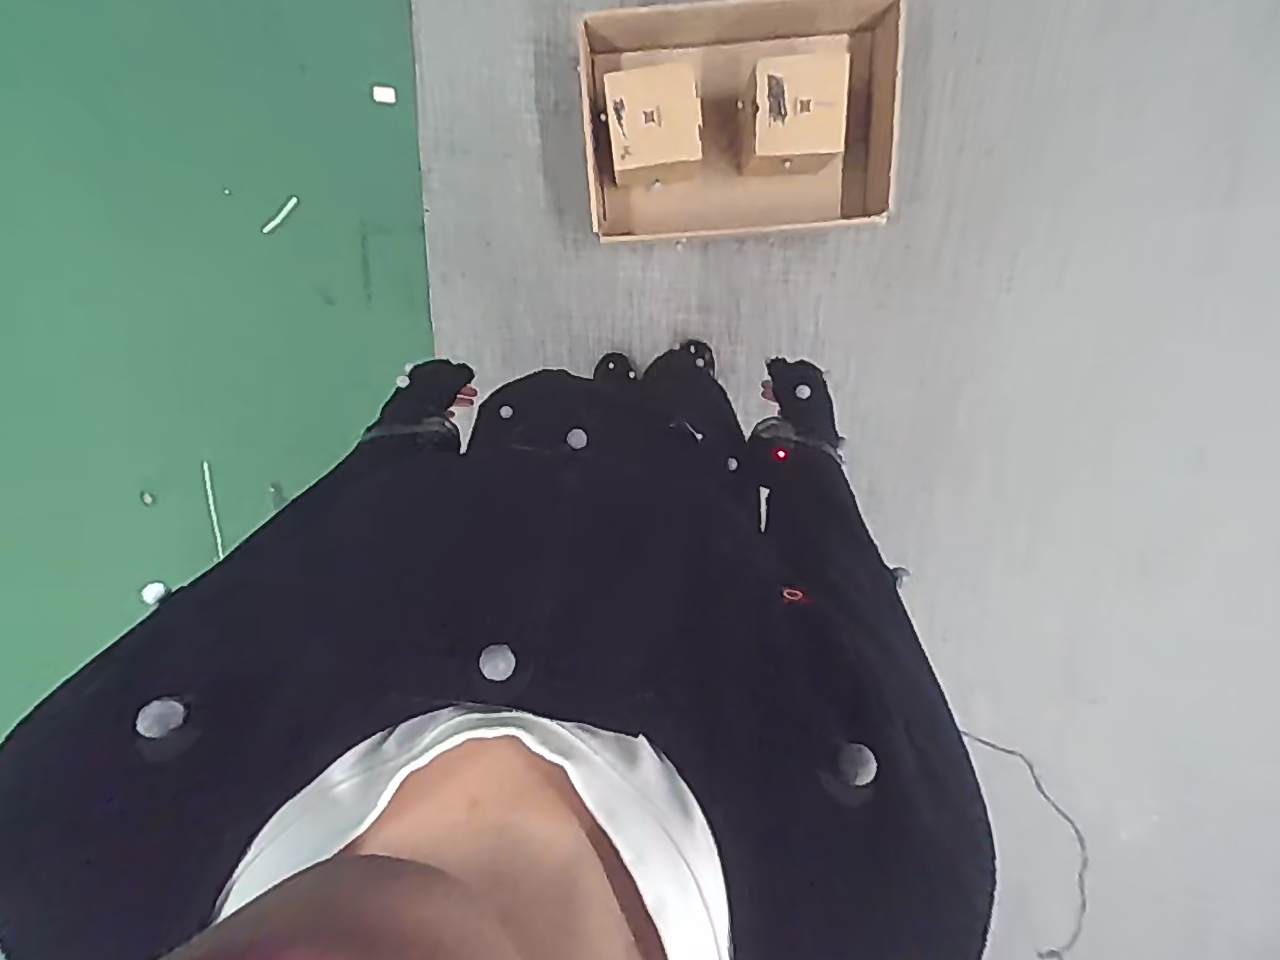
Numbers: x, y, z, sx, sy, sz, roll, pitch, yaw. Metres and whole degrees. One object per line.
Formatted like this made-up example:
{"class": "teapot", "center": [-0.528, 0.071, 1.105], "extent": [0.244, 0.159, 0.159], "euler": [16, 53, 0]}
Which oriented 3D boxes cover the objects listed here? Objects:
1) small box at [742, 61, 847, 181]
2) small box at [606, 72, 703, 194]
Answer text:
{"class": "small box", "center": [0.307, -0.728, 1.115], "extent": [0.179, 0.176, 0.168], "euler": [-2, 107, 2]}
{"class": "small box", "center": [0.027, -0.709, 1.123], "extent": [0.179, 0.176, 0.168], "euler": [-7, 106, 1]}
